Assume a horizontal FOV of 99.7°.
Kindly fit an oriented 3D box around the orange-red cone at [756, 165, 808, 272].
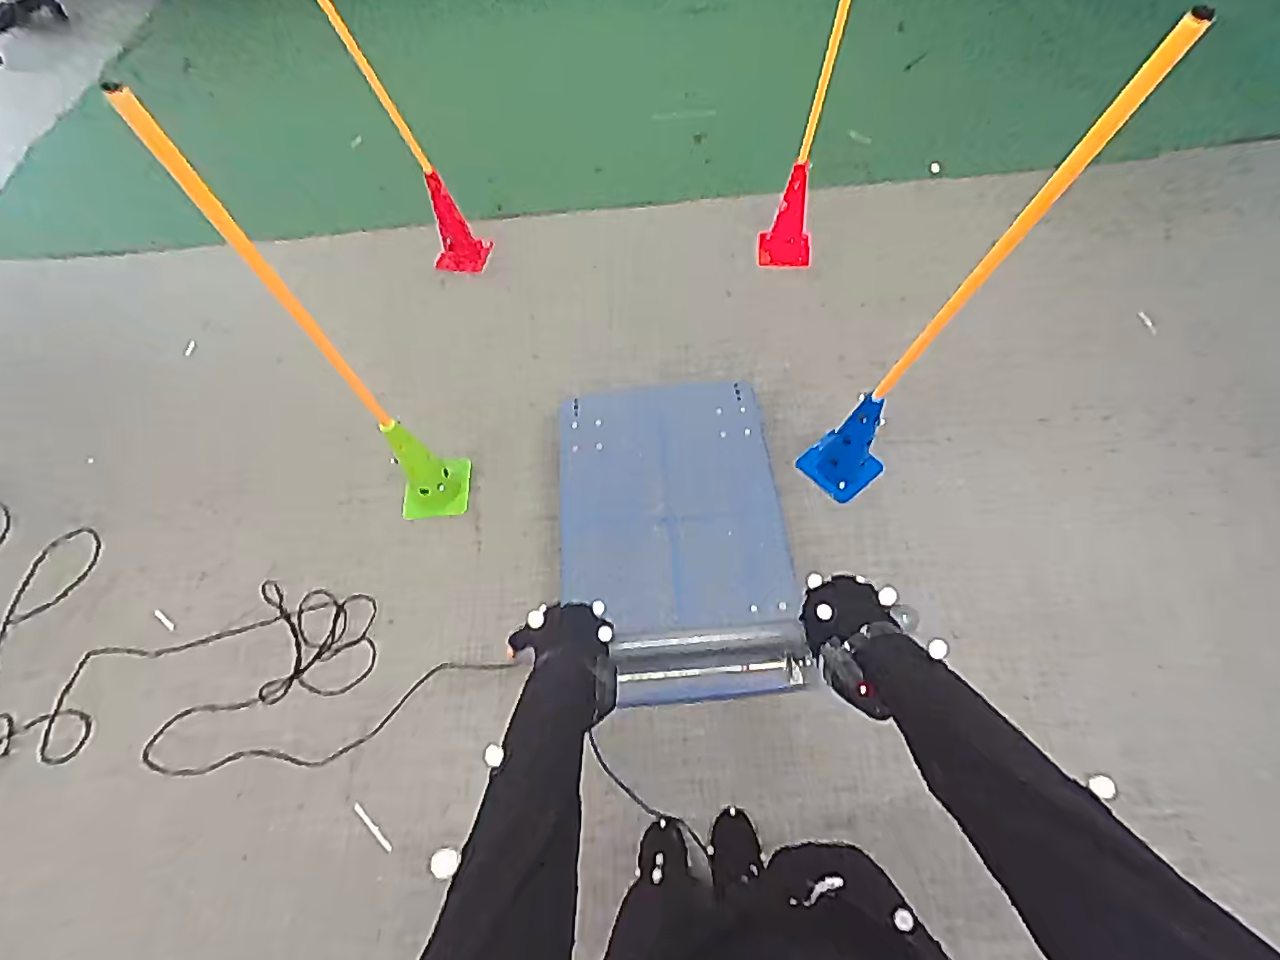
[{"bbox_3d":[0.550,-0.973,1.987,0.198,0.360,0.199,5,62,7],"label":"orange-red cone"}]
